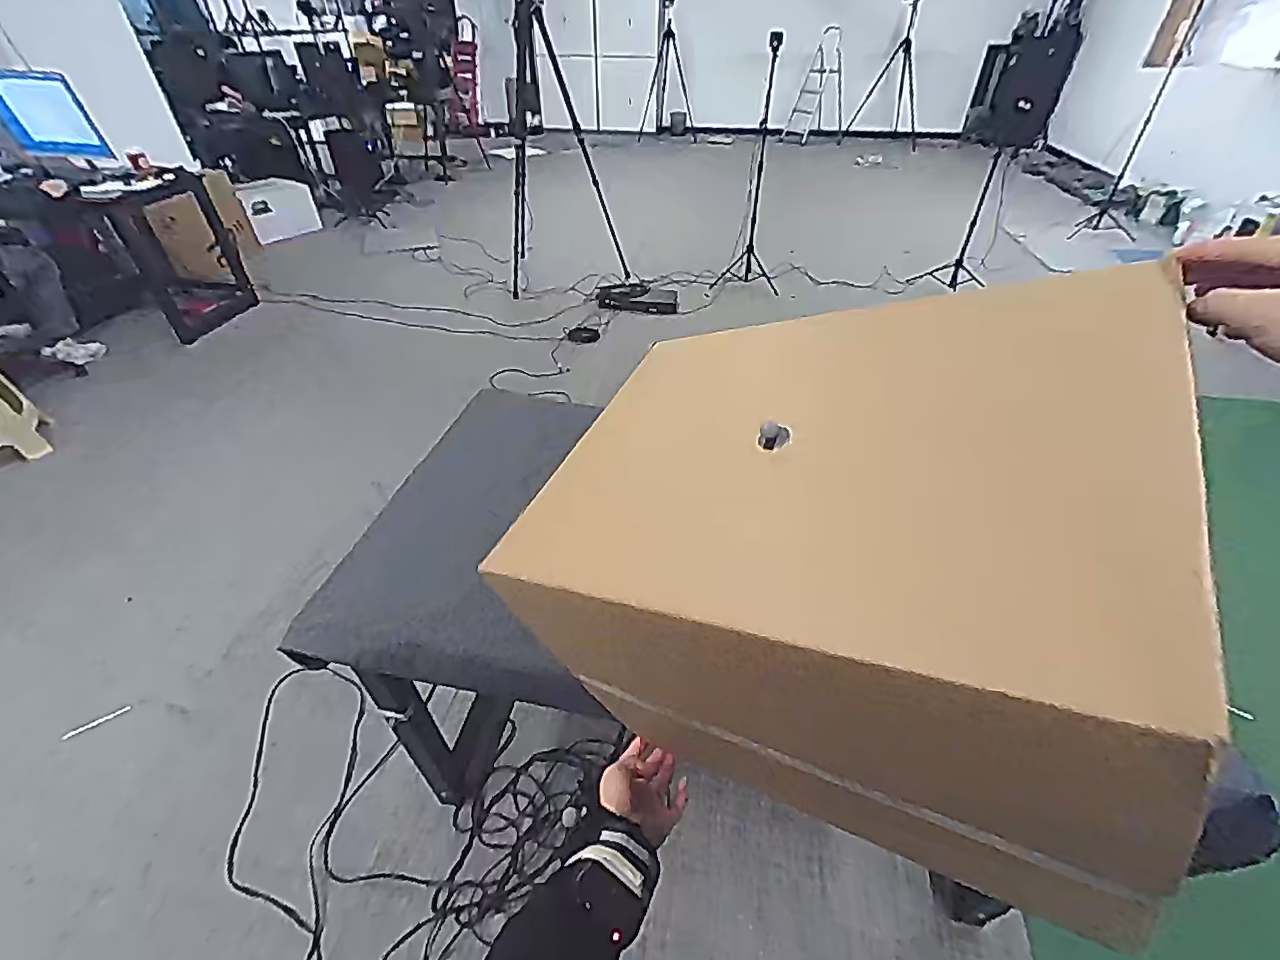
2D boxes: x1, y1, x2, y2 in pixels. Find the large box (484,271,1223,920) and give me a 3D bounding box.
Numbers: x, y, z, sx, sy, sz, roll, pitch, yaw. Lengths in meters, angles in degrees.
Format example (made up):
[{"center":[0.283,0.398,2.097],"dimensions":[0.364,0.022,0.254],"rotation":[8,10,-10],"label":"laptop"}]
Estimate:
[{"center":[0.160,0.076,0.460],"dimensions":[0.408,0.320,0.320],"rotation":[2,46,38],"label":"large box"}]
